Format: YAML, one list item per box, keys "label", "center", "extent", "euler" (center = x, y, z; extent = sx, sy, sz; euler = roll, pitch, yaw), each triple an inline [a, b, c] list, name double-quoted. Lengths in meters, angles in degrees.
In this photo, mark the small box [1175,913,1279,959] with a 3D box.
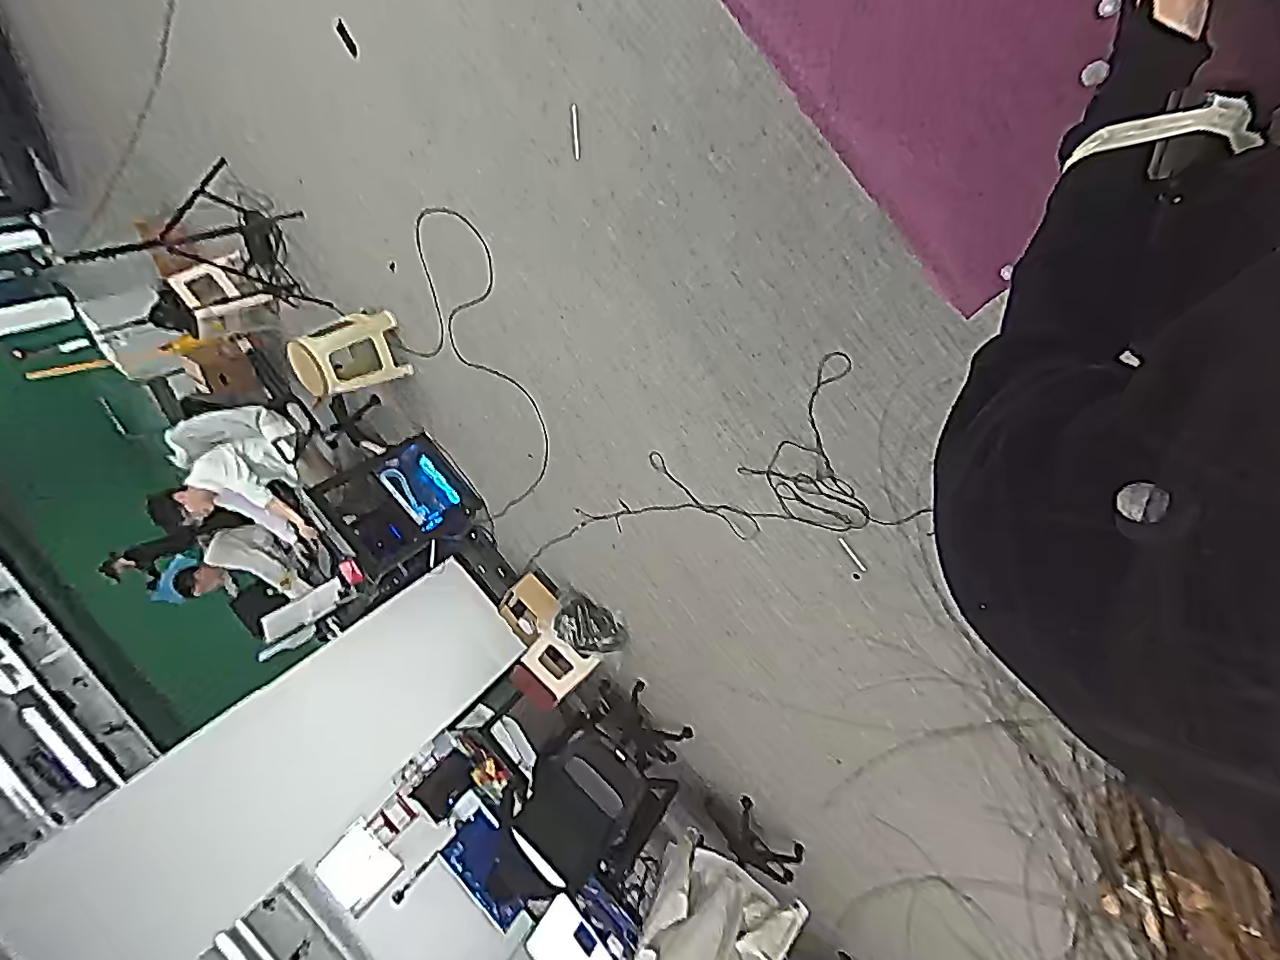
- label: "small box"
  center: [1.423, 1.189, 1.279]
  extent: [0.179, 0.176, 0.168]
  euler: [24, 132, 30]
